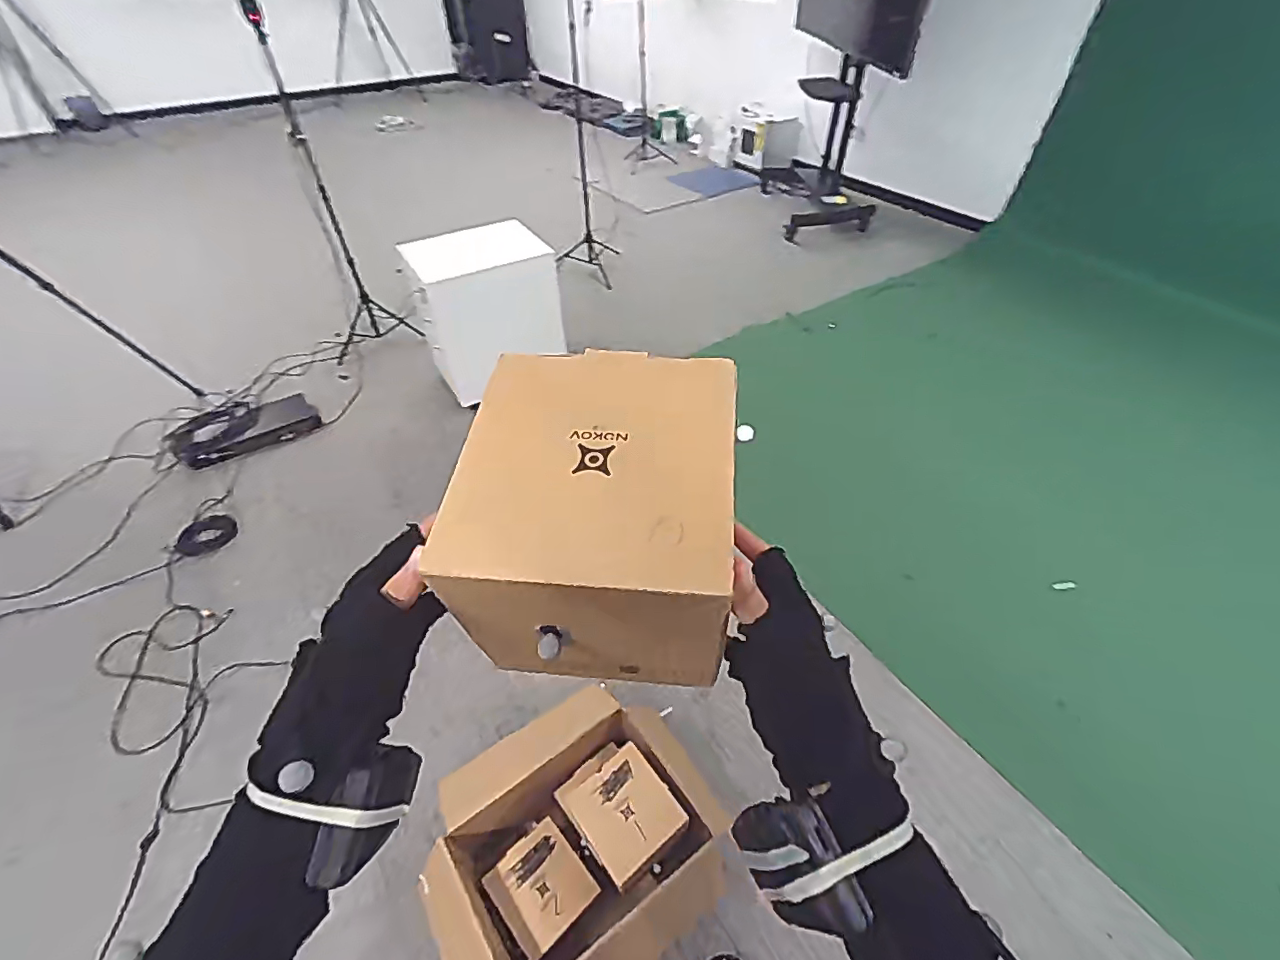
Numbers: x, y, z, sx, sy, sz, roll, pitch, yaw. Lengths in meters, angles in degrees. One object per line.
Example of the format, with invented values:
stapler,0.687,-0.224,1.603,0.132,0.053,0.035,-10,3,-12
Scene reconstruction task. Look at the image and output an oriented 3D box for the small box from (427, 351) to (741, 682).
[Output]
small box,-0.018,0.030,0.385,0.168,0.176,0.179,3,53,6
